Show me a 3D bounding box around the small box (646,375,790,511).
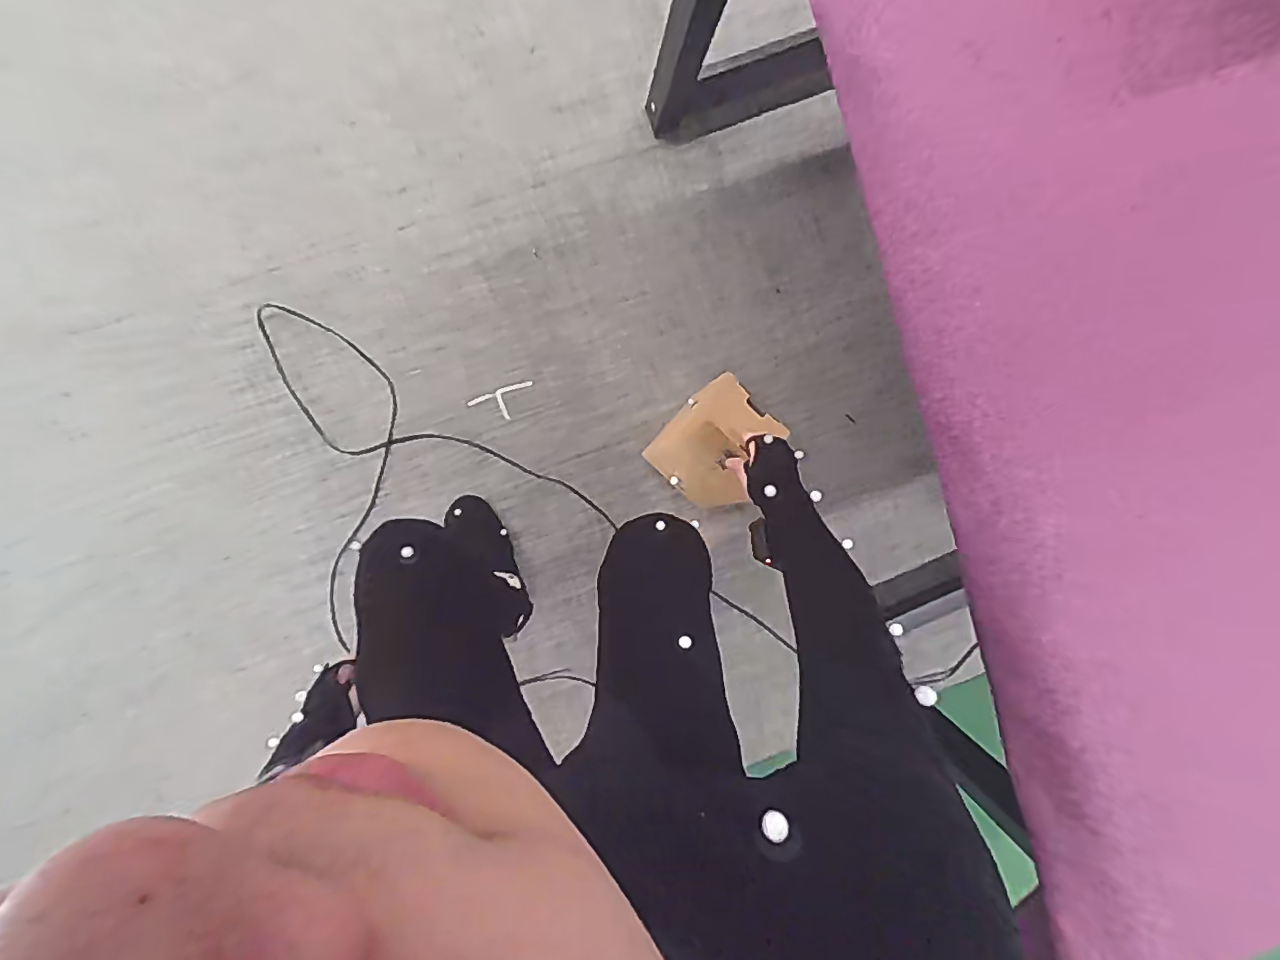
[{"bbox_3d":[0.137,-0.061,1.013,0.168,0.176,0.179,44,71,-7],"label":"small box"}]
